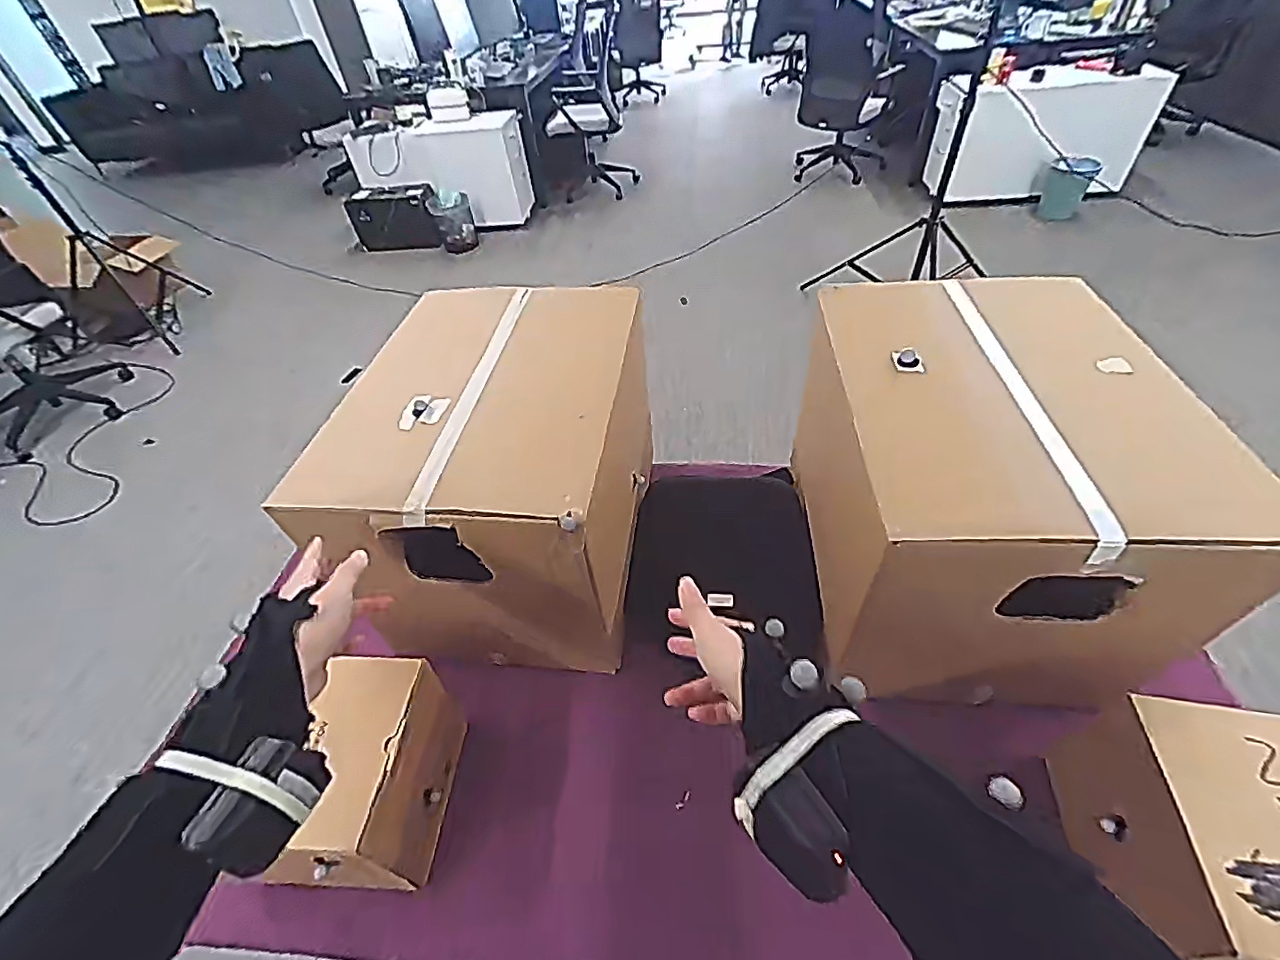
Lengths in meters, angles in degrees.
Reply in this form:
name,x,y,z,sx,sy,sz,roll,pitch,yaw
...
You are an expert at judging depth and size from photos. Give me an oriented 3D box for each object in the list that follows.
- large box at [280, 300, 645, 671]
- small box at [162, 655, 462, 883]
name,x,y,z,sx,sy,sz,roll,pitch,yaw
large box,-0.167,-0.001,0.737,0.320,0.320,0.408,1,49,8
small box,-0.306,0.297,0.555,0.179,0.176,0.168,1,45,2
